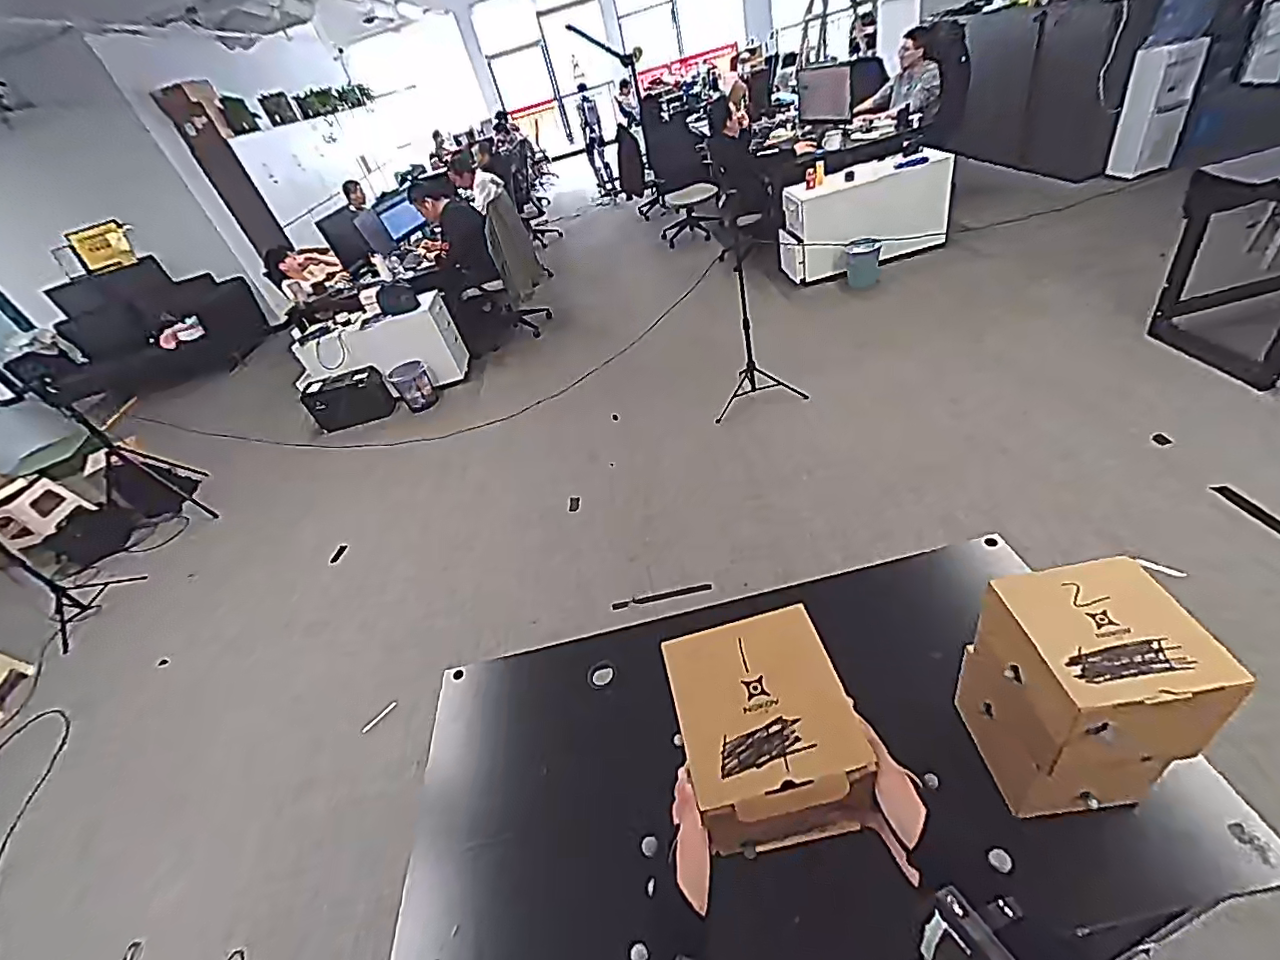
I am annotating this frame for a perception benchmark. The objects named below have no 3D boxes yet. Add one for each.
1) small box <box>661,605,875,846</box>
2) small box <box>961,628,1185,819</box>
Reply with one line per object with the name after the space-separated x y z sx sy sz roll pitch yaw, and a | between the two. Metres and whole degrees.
0.133 0.270 0.584 0.168 0.176 0.179 -16 43 2 | small box
0.575 0.338 0.753 0.168 0.176 0.179 -13 38 8 | small box
